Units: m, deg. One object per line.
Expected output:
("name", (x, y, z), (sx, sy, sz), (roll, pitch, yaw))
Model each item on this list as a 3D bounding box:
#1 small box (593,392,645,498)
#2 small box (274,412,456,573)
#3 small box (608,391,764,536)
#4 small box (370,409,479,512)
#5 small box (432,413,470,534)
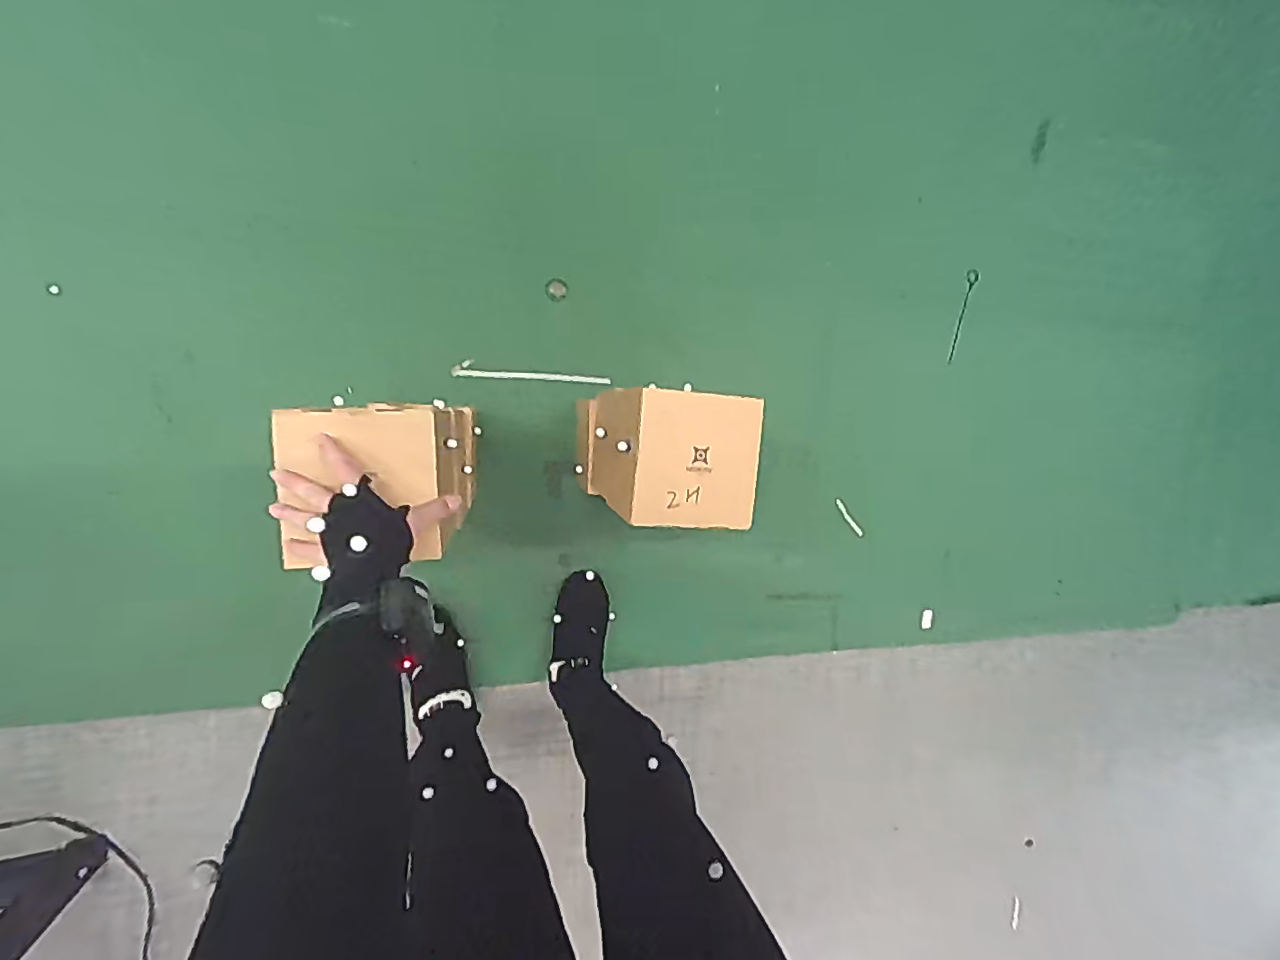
("small box", (0.017, -0.050, 0.919), (0.168, 0.176, 0.179), (4, 95, -14))
("small box", (-0.327, 0.006, 0.675), (0.168, 0.176, 0.179), (-2, 96, -12))
("small box", (0.054, -0.027, 0.760), (0.168, 0.176, 0.179), (4, 96, -14))
("small box", (-0.387, -0.038, 0.994), (0.168, 0.176, 0.179), (1, 95, -13))
("small box", (-0.357, -0.013, 0.834), (0.168, 0.176, 0.179), (-2, 97, -13))
